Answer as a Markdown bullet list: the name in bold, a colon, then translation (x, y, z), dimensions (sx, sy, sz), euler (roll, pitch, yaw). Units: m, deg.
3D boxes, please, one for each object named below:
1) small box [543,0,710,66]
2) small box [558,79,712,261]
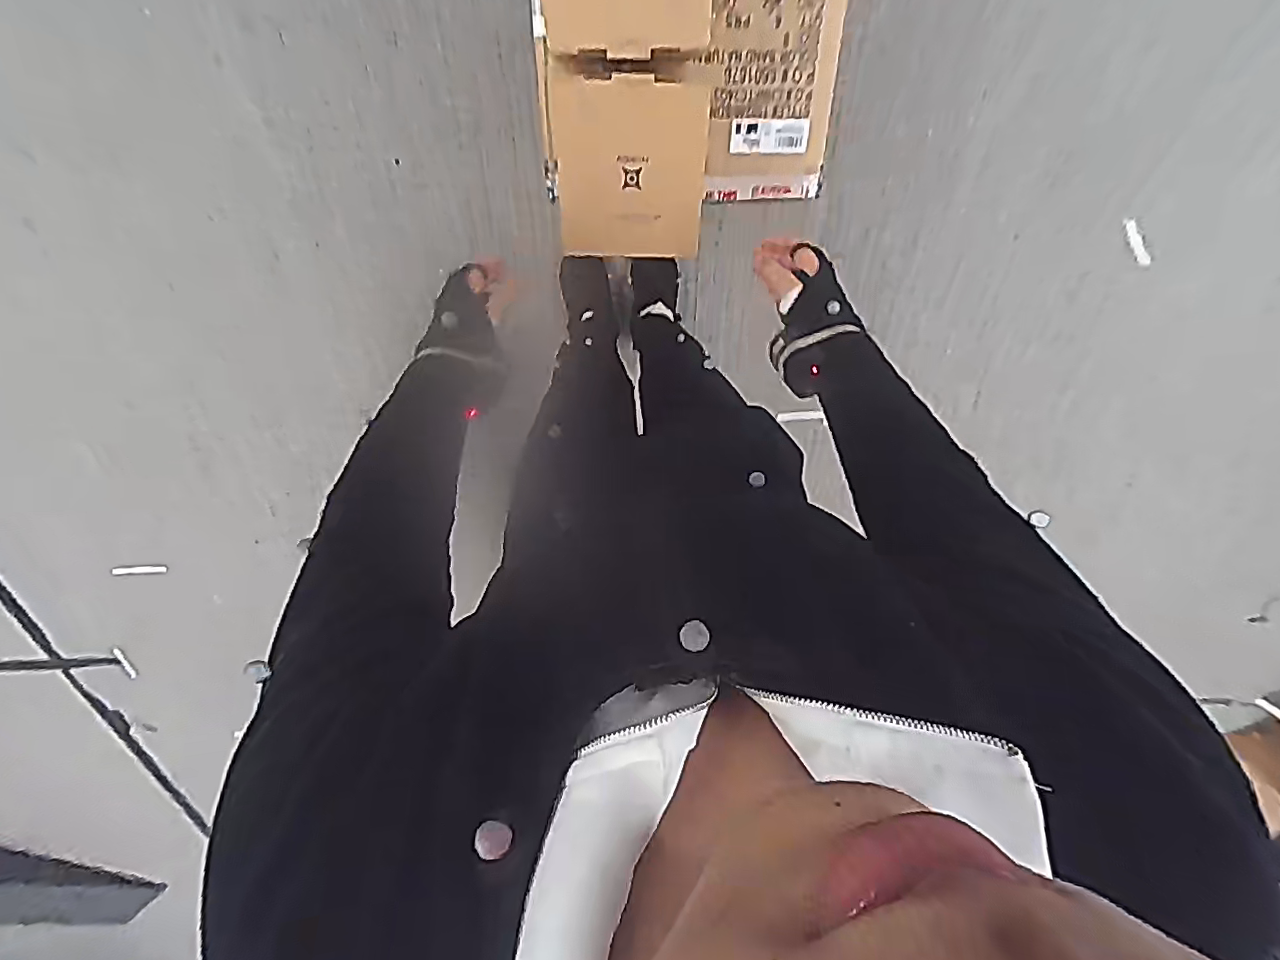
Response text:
- **small box**: translation (-0.016, -0.543, 0.564), dimensions (0.168, 0.176, 0.179), euler (-3, 125, -2)
- **small box**: translation (-0.012, -0.384, 0.673), dimensions (0.168, 0.176, 0.179), euler (0, 125, -3)
